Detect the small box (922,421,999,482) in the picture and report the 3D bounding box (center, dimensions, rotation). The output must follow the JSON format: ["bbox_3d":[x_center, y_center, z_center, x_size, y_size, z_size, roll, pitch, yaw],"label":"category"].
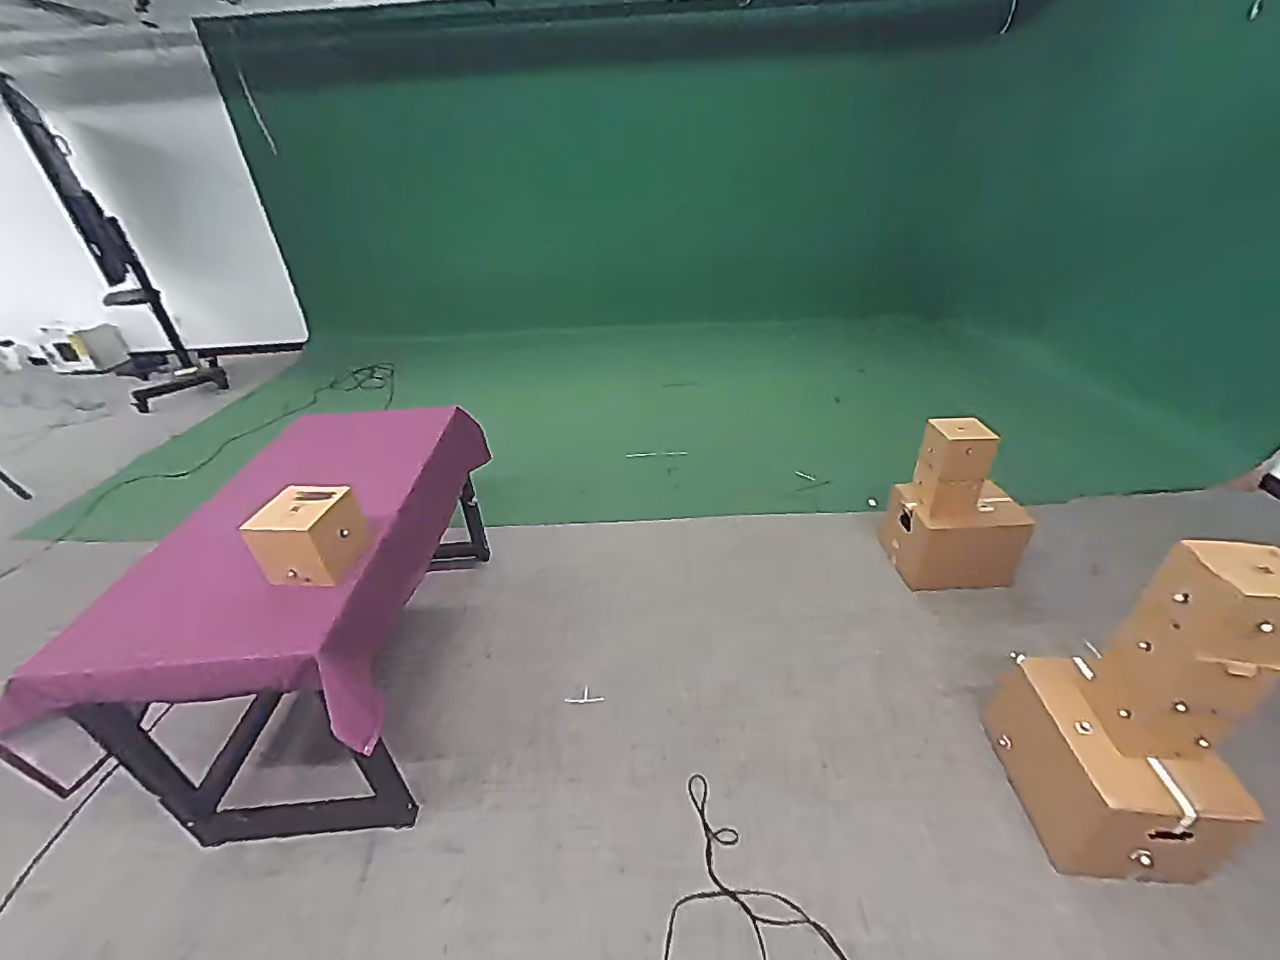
[{"bbox_3d":[1.146,-0.103,1.953,0.179,0.176,0.168,-1,32,2],"label":"small box"}]

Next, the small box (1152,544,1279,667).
[{"bbox_3d":[1.180,0.248,1.073,0.179,0.176,0.168,4,33,8],"label":"small box"}]

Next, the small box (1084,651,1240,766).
[{"bbox_3d":[1.187,0.527,1.248,0.168,0.176,0.179,4,32,8],"label":"small box"}]

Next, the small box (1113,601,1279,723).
[{"bbox_3d":[1.179,0.389,1.159,0.168,0.176,0.179,5,31,9],"label":"small box"}]

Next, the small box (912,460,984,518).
[{"bbox_3d":[1.155,0.033,2.046,0.179,0.176,0.168,-1,32,2],"label":"small box"}]

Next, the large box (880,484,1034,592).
[{"bbox_3d":[1.252,0.231,2.183,0.408,0.320,0.320,-2,32,0],"label":"large box"}]
